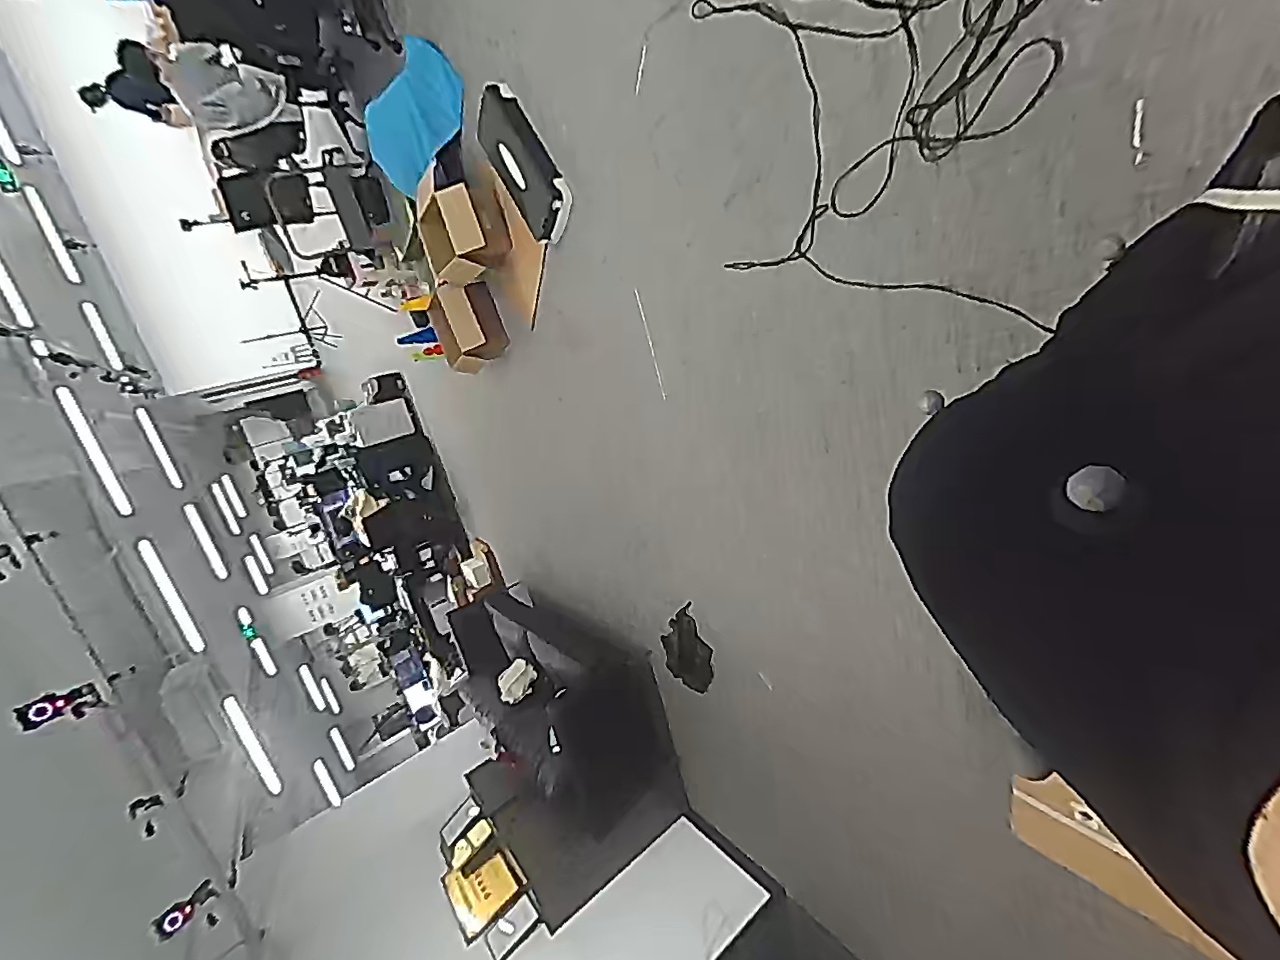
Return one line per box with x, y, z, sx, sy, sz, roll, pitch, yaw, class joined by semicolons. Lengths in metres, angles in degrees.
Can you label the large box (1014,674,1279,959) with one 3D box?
1.106;0.700;1.166;0.408;0.320;0.320;18;124;53;large box
